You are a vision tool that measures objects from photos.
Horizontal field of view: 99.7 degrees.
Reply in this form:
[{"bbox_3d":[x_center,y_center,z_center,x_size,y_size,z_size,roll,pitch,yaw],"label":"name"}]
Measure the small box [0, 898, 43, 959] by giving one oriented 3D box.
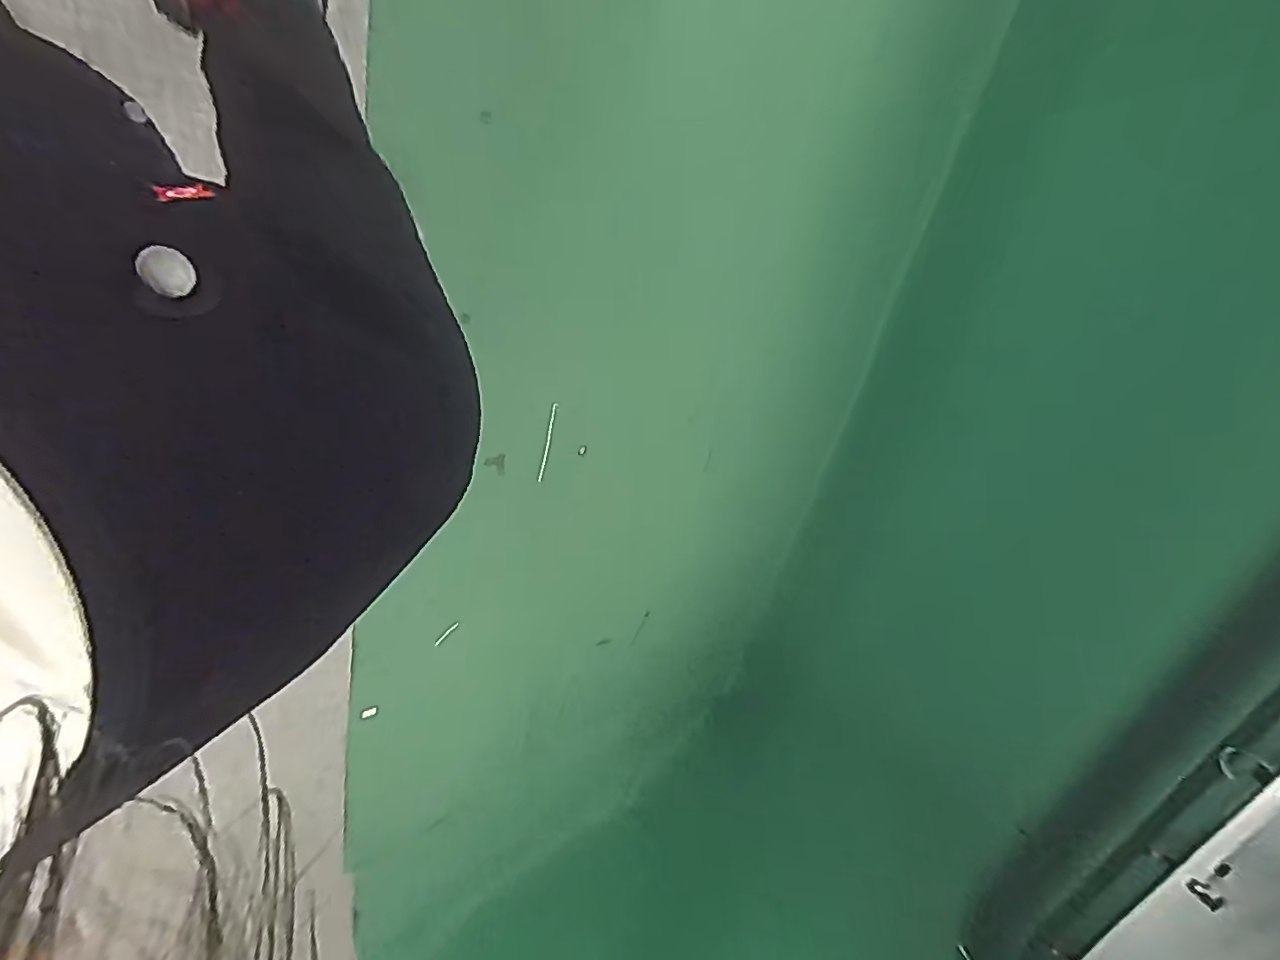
[{"bbox_3d":[-1.681,1.246,1.391,0.179,0.176,0.168,-14,129,-45],"label":"small box"}]
